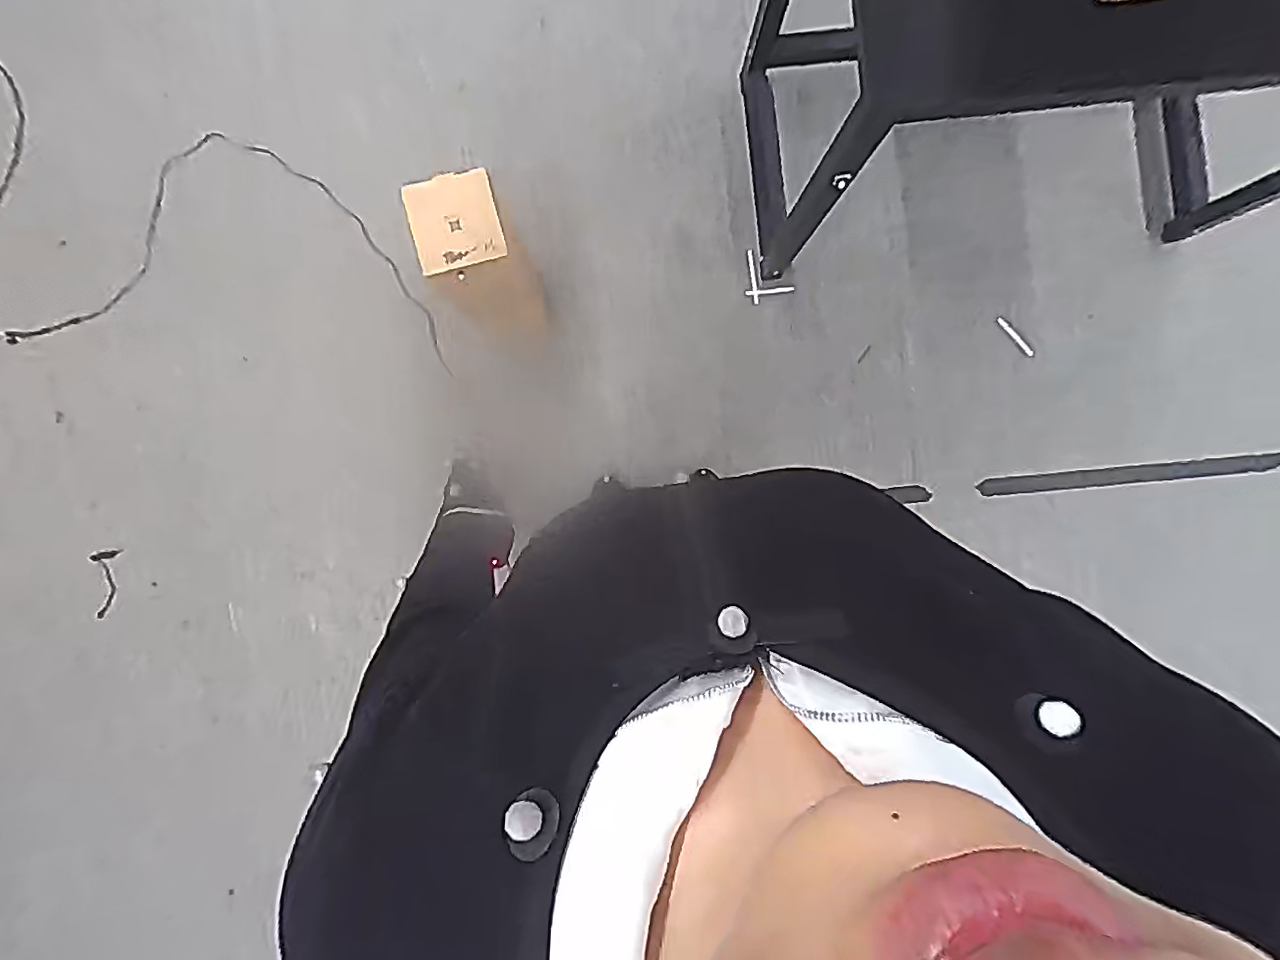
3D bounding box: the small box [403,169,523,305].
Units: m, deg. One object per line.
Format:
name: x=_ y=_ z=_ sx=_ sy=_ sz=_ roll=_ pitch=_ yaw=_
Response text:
small box: x=-0.349 y=-0.481 z=1.092 sx=0.168 sy=0.176 sz=0.179 roll=-15 pitch=90 yaw=-1
